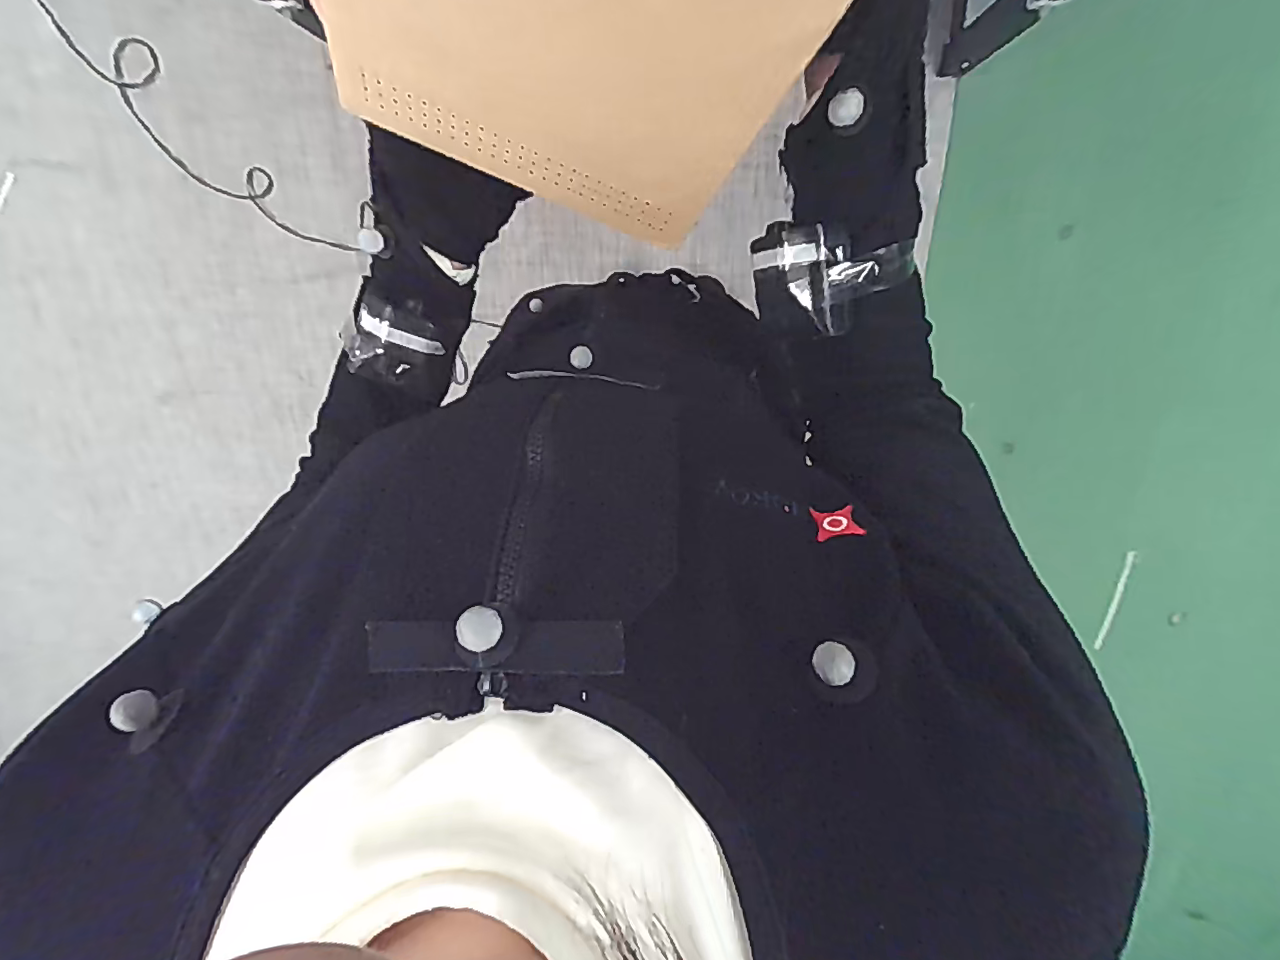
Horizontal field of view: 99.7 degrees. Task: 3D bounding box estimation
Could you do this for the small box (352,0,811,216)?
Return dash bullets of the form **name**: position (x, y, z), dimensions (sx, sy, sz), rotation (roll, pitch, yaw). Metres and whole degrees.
- **small box**: position (-0.016, -0.254, 0.232), dimensions (0.179, 0.176, 0.168), rotation (16, 74, -17)
